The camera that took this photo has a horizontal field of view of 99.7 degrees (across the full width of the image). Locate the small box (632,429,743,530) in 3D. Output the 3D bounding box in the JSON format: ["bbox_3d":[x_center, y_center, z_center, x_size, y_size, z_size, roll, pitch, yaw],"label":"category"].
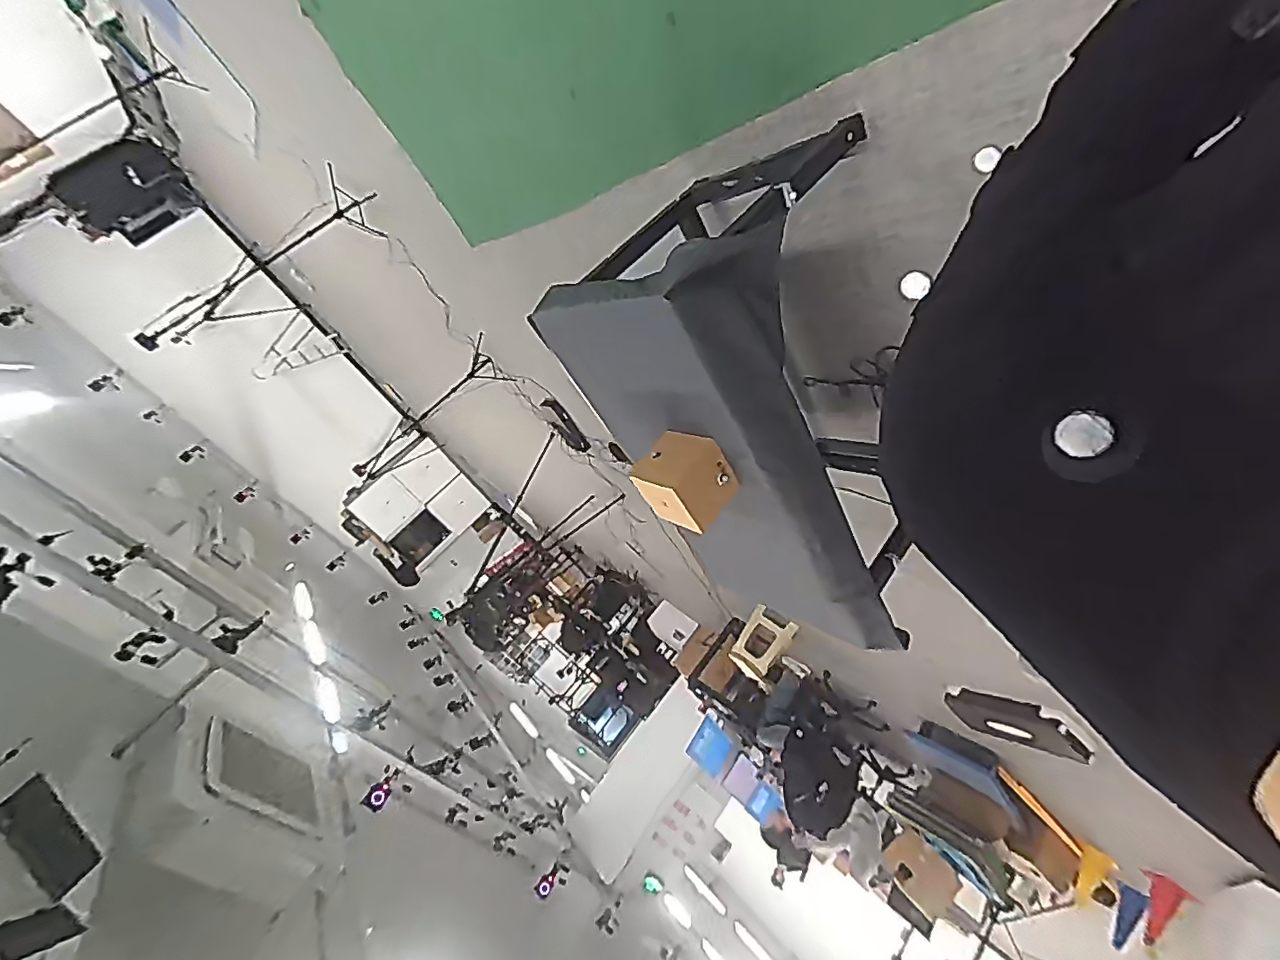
[{"bbox_3d":[0.120,-0.009,1.334,0.179,0.176,0.168,16,150,52],"label":"small box"}]
